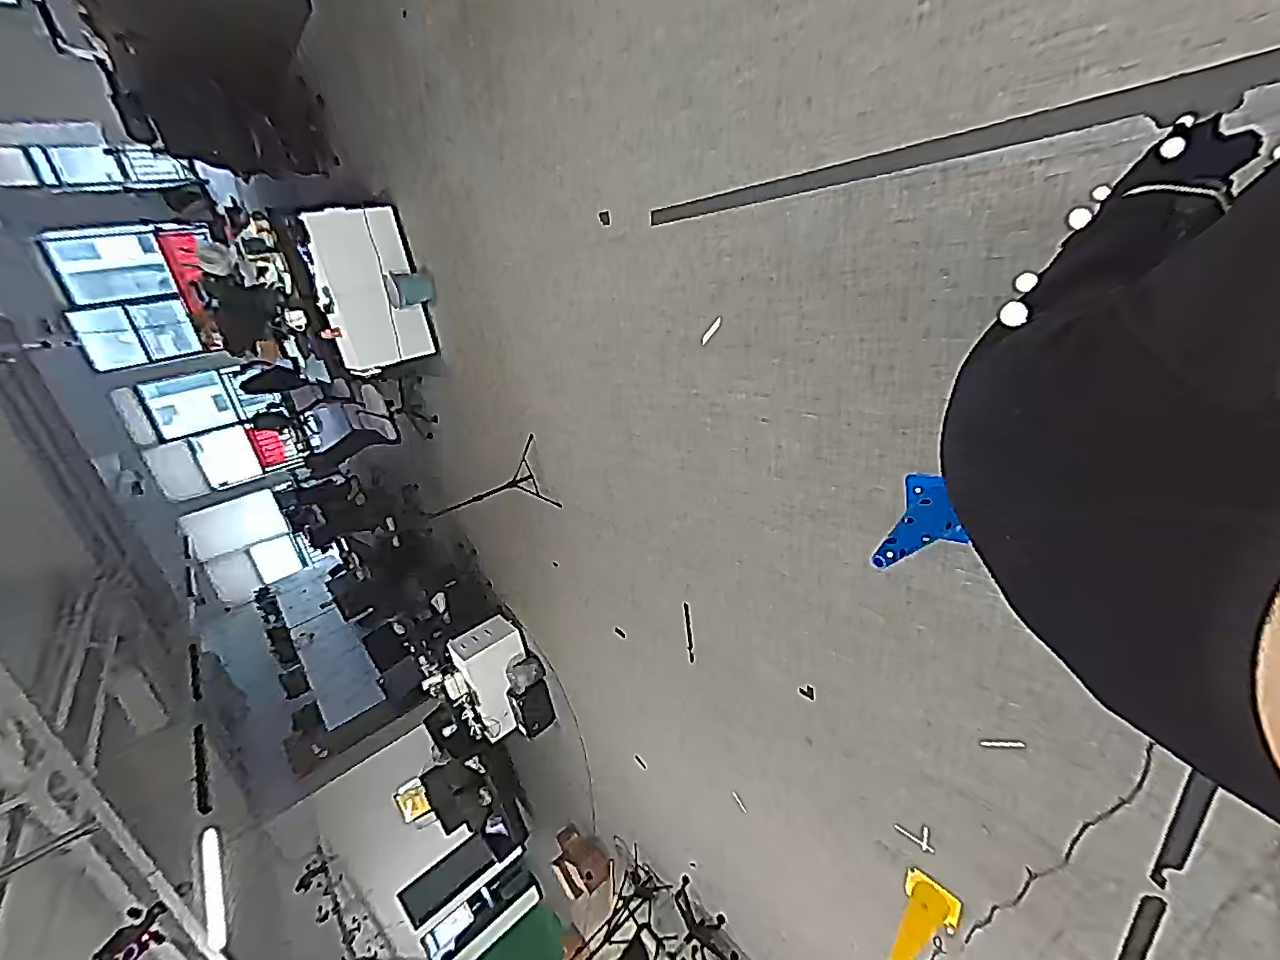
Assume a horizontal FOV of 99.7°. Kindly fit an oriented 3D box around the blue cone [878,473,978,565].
[{"bbox_3d":[0.746,0.131,1.464,0.192,0.380,0.193,12,120,50],"label":"blue cone"}]
